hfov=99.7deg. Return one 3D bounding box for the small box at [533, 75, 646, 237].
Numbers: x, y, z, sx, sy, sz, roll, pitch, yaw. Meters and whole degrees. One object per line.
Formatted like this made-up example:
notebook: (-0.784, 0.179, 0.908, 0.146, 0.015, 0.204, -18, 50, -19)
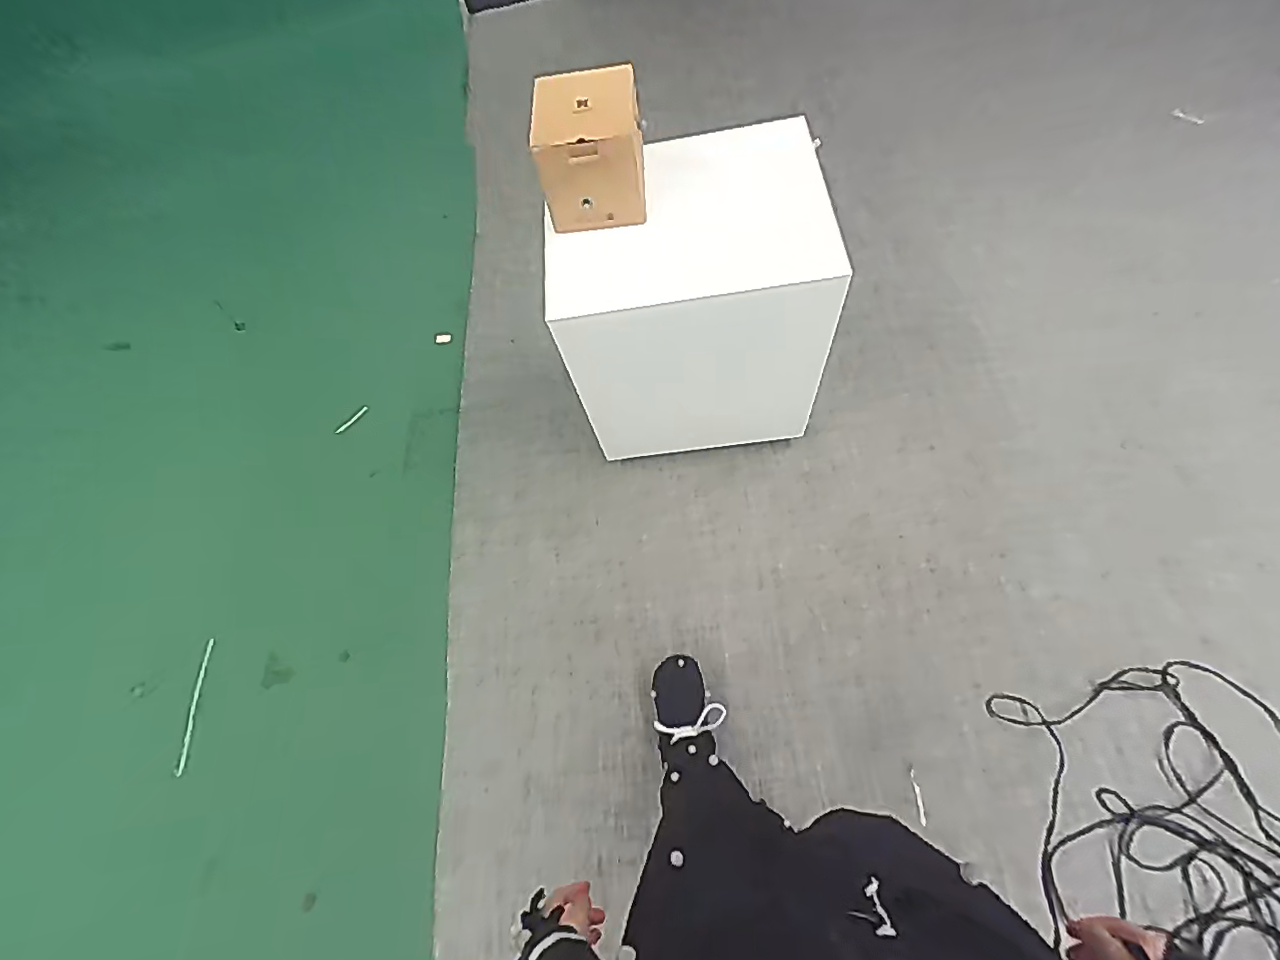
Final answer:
small box: (-0.079, -0.555, 0.940, 0.168, 0.176, 0.179, -4, 66, 5)
